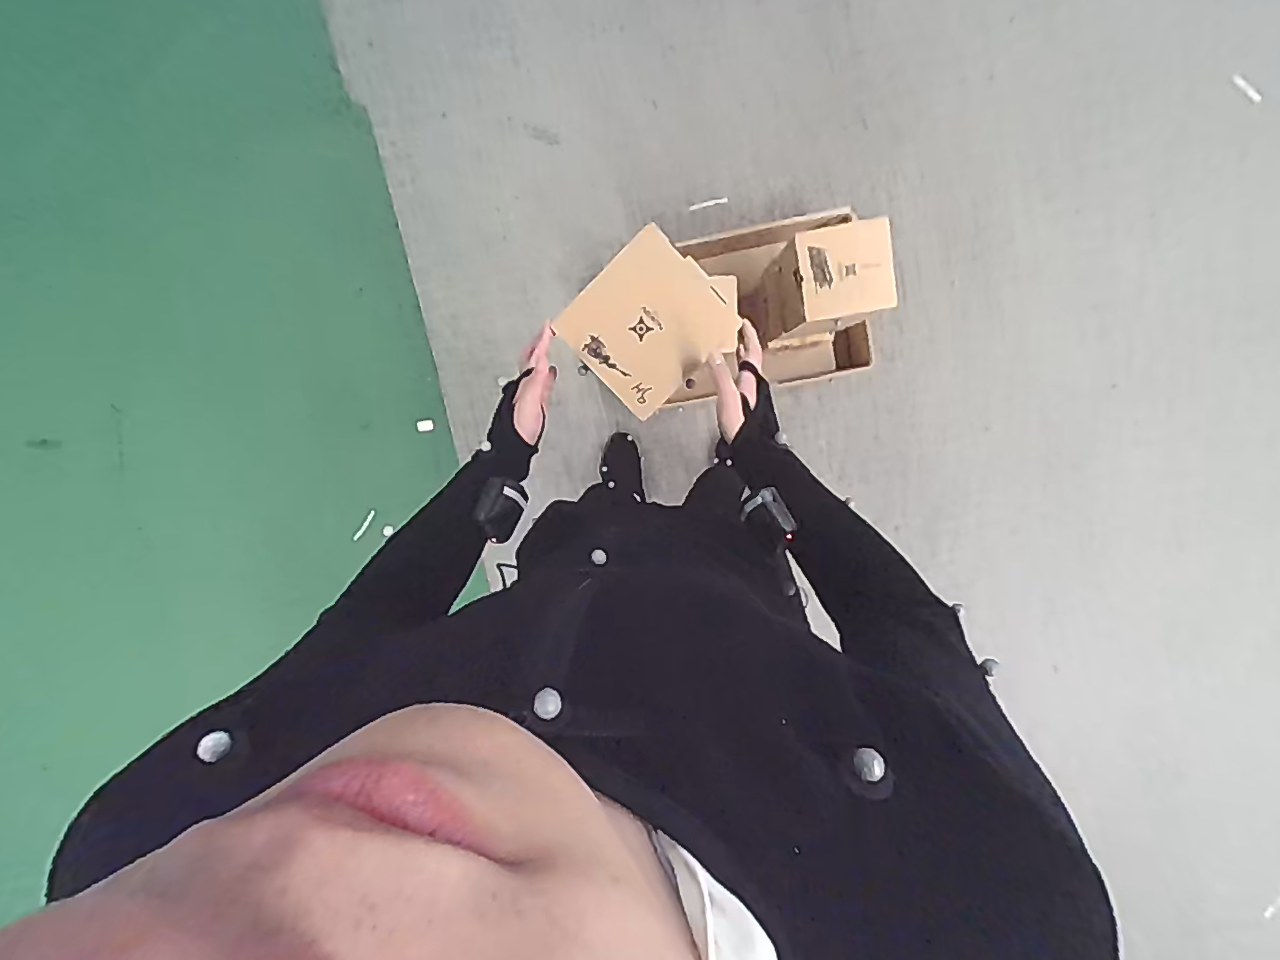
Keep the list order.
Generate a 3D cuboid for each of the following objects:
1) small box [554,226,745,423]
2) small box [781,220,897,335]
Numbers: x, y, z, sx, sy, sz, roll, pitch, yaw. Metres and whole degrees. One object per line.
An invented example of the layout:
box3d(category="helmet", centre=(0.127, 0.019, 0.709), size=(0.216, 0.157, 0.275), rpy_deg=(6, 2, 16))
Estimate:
box3d(category="small box", centre=(0.010, -0.195, 0.730), size=(0.179, 0.176, 0.168), rpy_deg=(-44, 94, 5))
box3d(category="small box", centre=(0.388, -0.395, 1.084), size=(0.179, 0.176, 0.168), rpy_deg=(-9, 97, 4))
